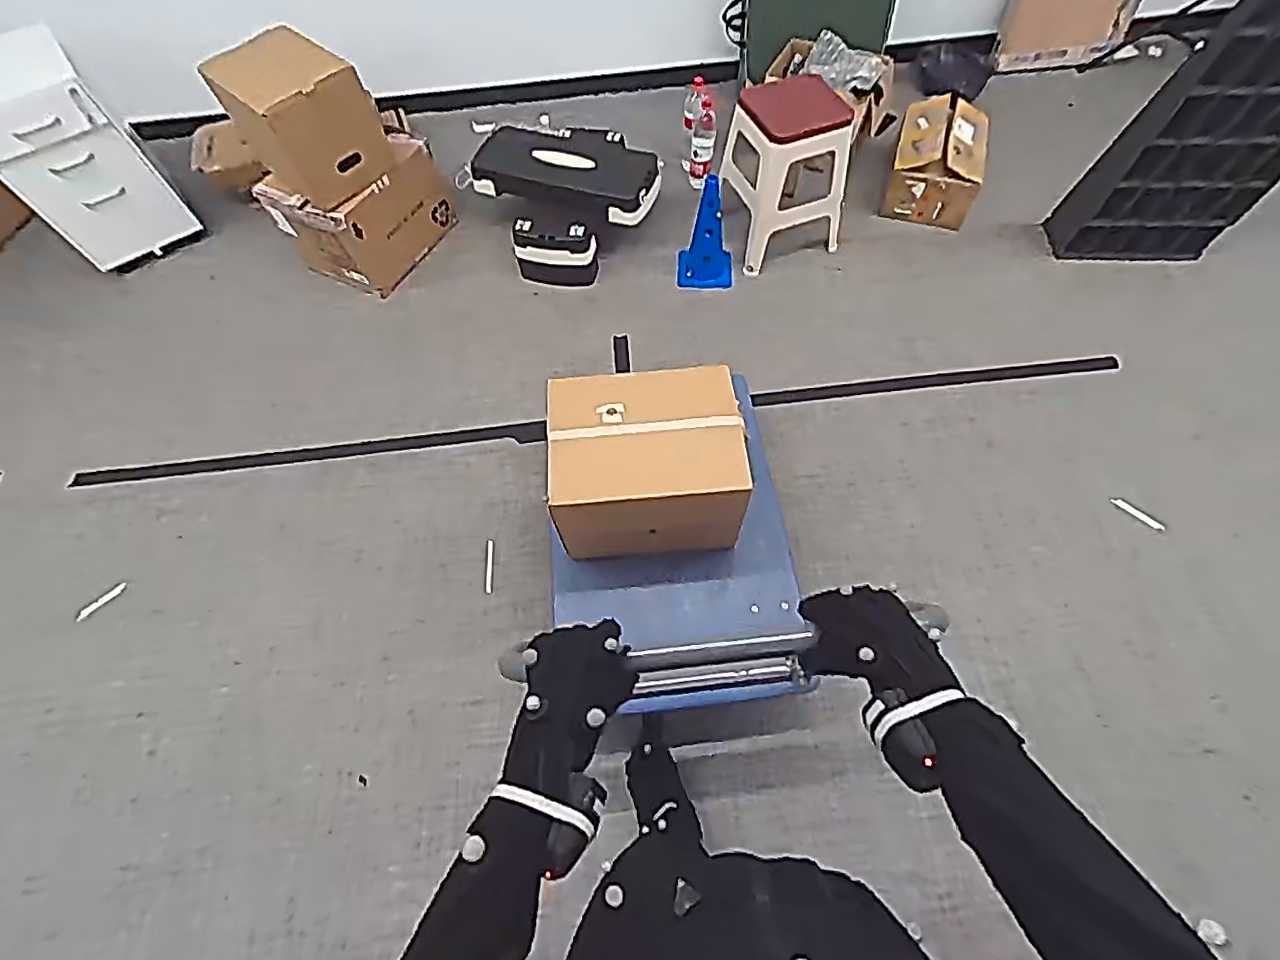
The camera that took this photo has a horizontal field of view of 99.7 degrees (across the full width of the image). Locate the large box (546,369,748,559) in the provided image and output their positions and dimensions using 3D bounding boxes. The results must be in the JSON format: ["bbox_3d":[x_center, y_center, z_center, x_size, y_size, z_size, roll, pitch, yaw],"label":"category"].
[{"bbox_3d":[0.012,-0.024,1.262,0.408,0.320,0.320,-6,62,0],"label":"large box"}]
